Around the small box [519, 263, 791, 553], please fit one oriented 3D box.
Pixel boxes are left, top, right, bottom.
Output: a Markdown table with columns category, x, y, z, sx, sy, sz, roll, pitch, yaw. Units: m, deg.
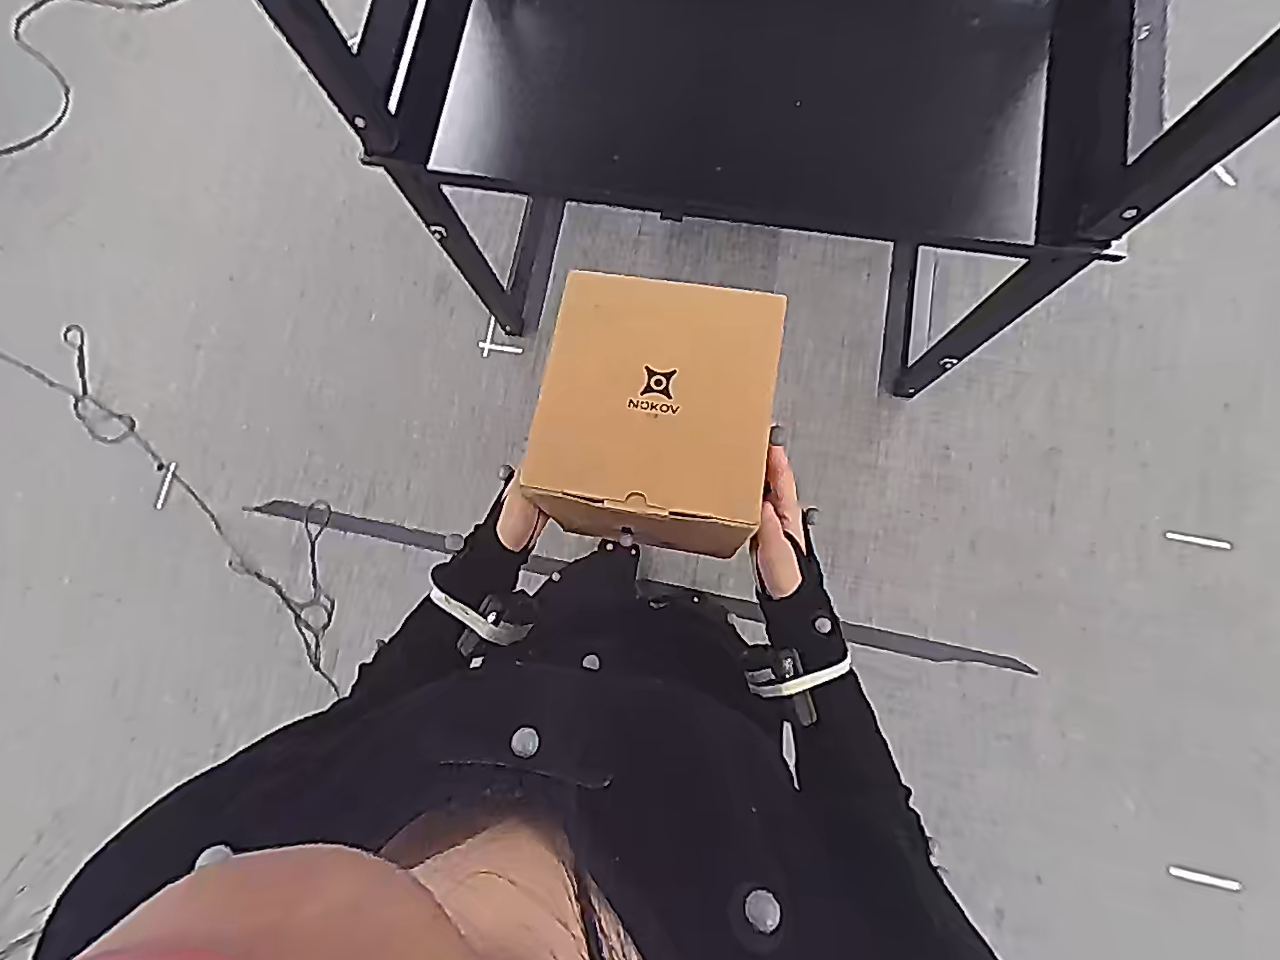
| category | x | y | z | sx | sy | sz | roll | pitch | yaw |
| --- | --- | --- | --- | --- | --- | --- | --- | --- | --- |
| small box | 0.017 | -0.046 | 0.450 | 0.168 | 0.176 | 0.179 | 9 | 77 | 6 |
